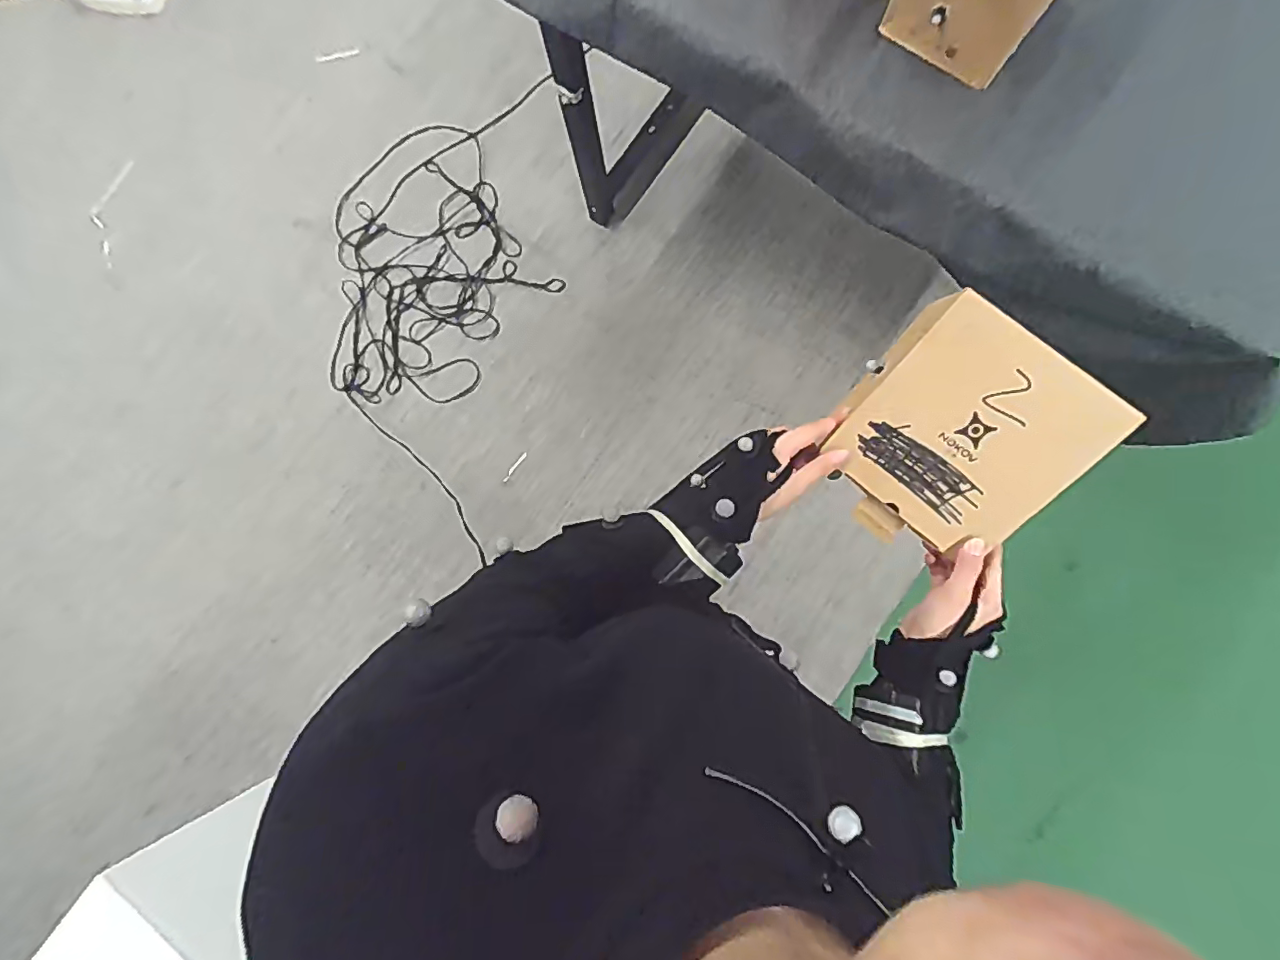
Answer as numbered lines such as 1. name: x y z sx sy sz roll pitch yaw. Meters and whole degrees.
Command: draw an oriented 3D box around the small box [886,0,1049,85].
1. small box: 0.432 -0.640 0.648 0.168 0.176 0.179 37 87 7
